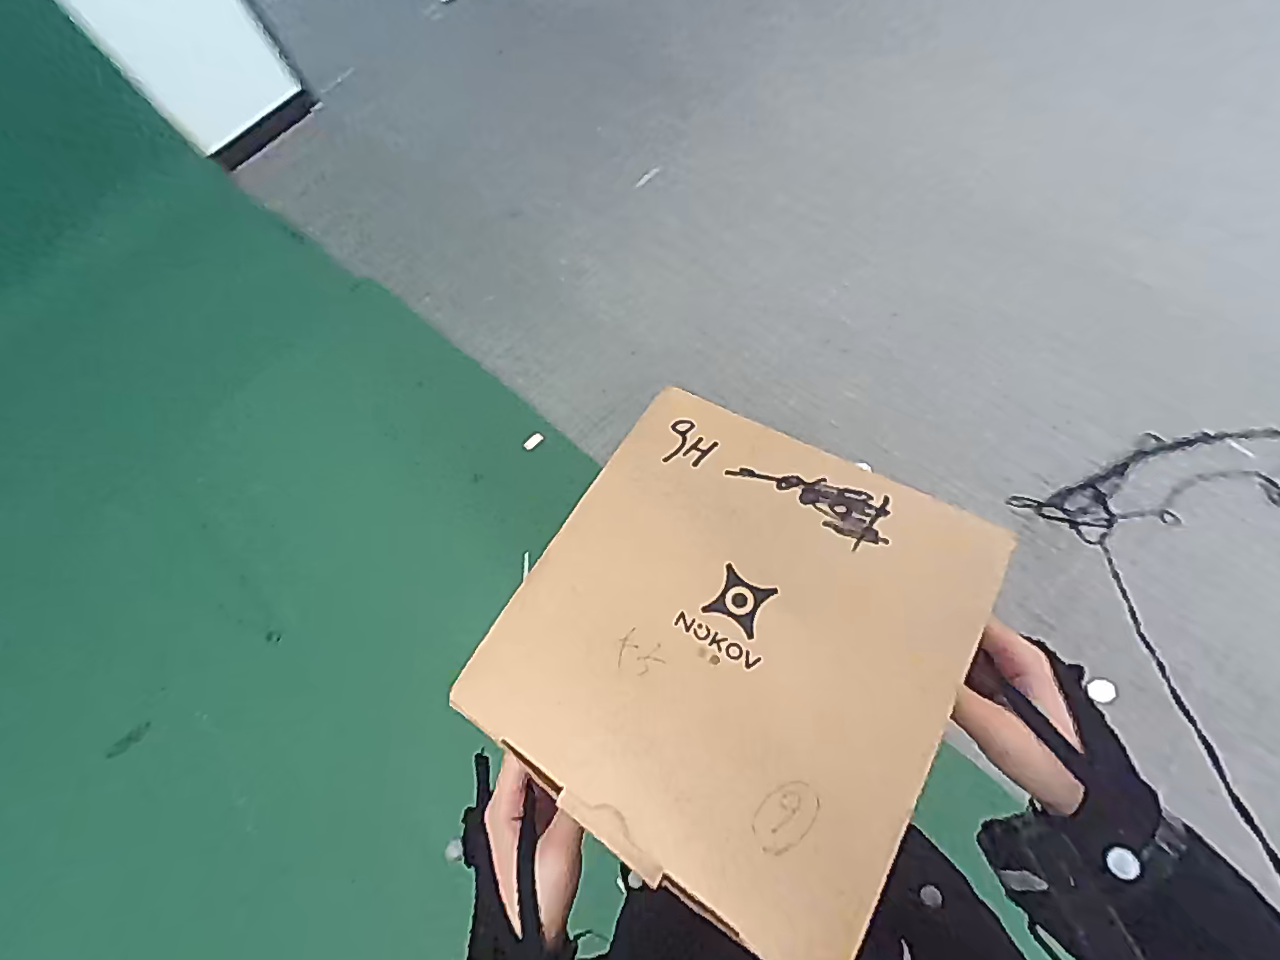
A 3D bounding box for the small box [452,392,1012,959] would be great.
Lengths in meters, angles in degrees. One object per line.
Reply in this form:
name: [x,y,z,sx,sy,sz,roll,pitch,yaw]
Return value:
small box: [0.047,0.092,0.287,0.168,0.176,0.179,28,73,22]
